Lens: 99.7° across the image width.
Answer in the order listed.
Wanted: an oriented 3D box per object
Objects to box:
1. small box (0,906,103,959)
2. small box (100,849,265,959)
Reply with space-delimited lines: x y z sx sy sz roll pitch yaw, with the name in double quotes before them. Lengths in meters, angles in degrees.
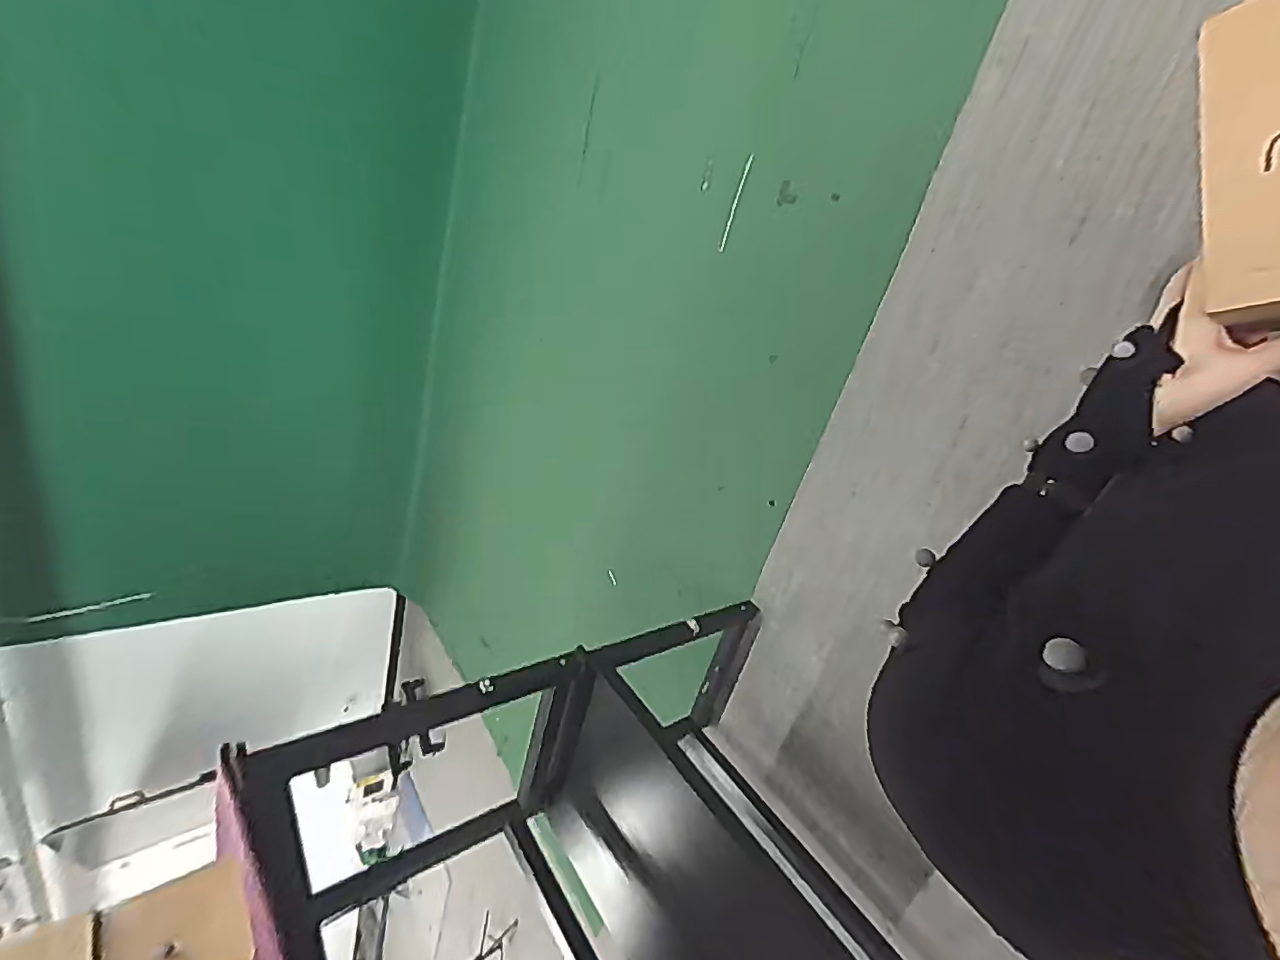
"small box" -0.786 0.709 0.685 0.179 0.176 0.168 37 122 40
"small box" -0.666 0.705 0.797 0.179 0.176 0.168 37 121 39
